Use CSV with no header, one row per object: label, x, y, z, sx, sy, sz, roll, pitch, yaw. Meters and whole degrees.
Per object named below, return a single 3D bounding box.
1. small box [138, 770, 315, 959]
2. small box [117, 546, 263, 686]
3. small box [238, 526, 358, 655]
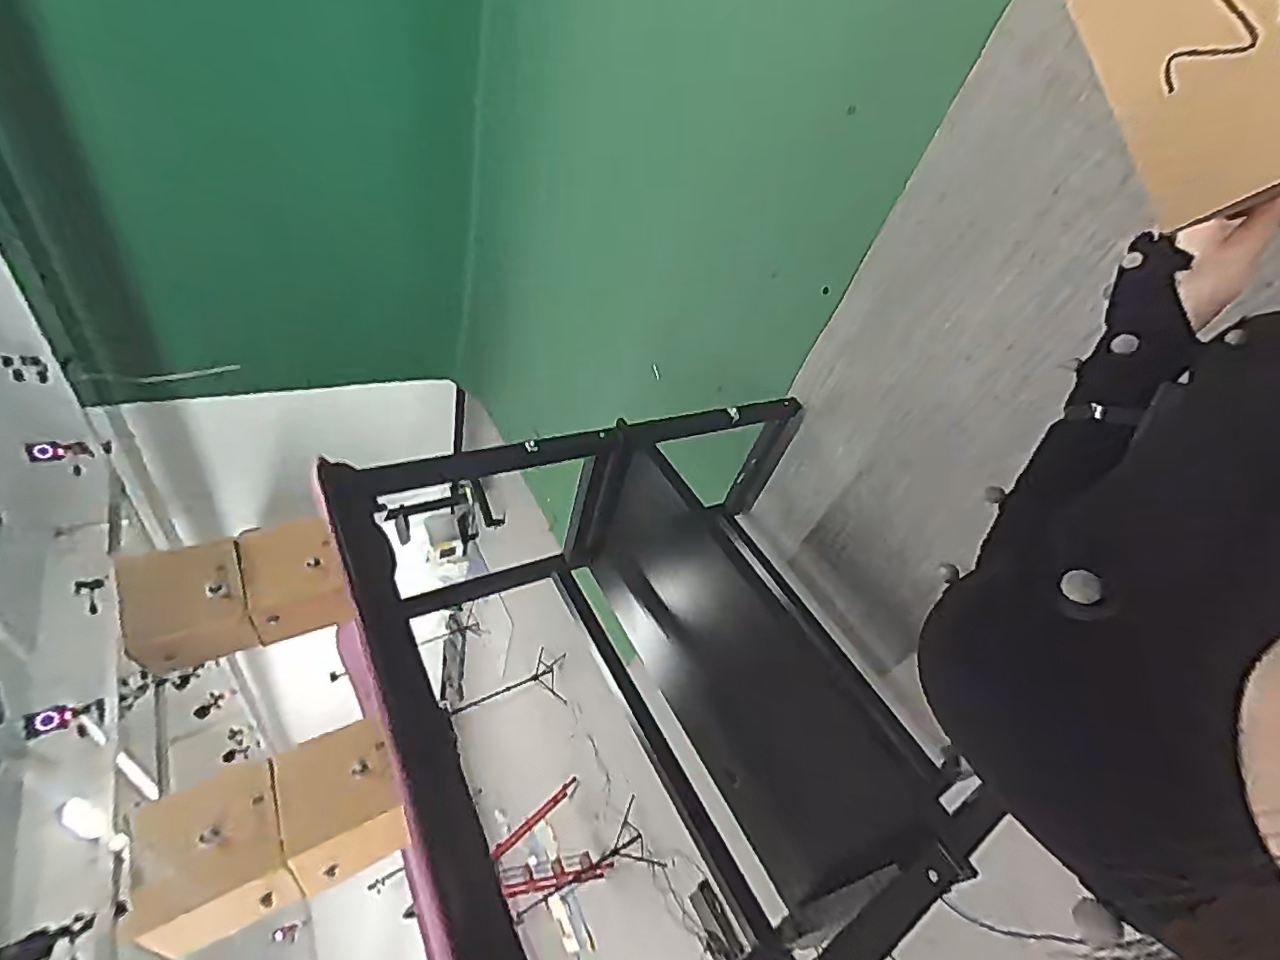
small box,-0.601,0.569,0.800,0.168,0.176,0.179,51,140,33
small box,-0.794,0.243,0.973,0.168,0.176,0.179,61,142,19
small box,-0.666,0.215,1.067,0.168,0.176,0.179,59,143,23
